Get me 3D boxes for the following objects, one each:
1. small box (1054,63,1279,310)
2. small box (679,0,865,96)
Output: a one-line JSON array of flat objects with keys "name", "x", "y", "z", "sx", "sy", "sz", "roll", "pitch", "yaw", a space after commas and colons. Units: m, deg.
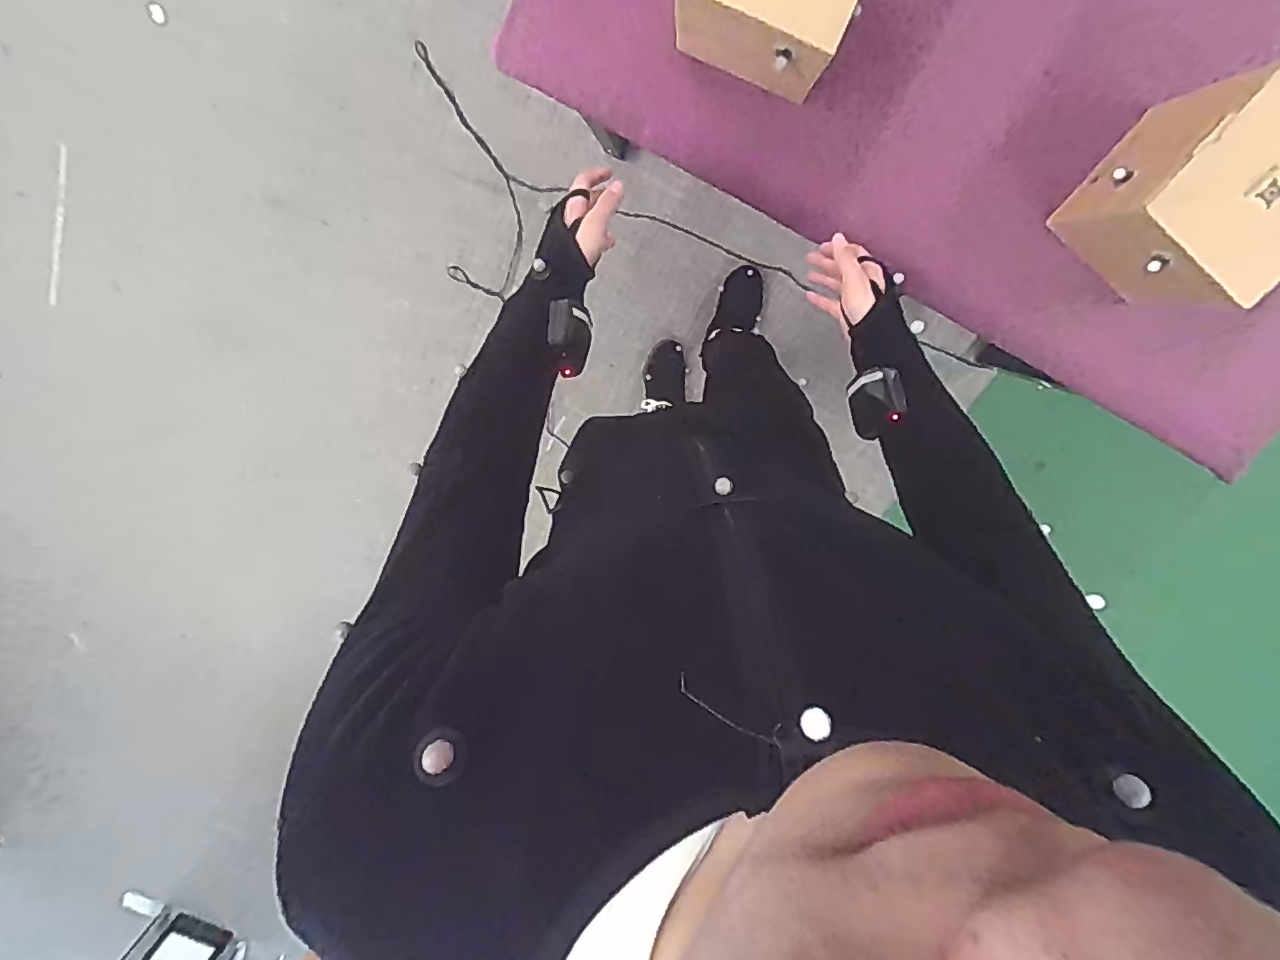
[{"name": "small box", "x": 0.645, "y": -0.319, "z": 0.626, "sx": 0.179, "sy": 0.176, "sz": 0.168, "roll": 37, "pitch": 109, "yaw": -9}, {"name": "small box", "x": 0.154, "y": -0.549, "z": 0.579, "sx": 0.179, "sy": 0.176, "sz": 0.168, "roll": 22, "pitch": 111, "yaw": -3}]
